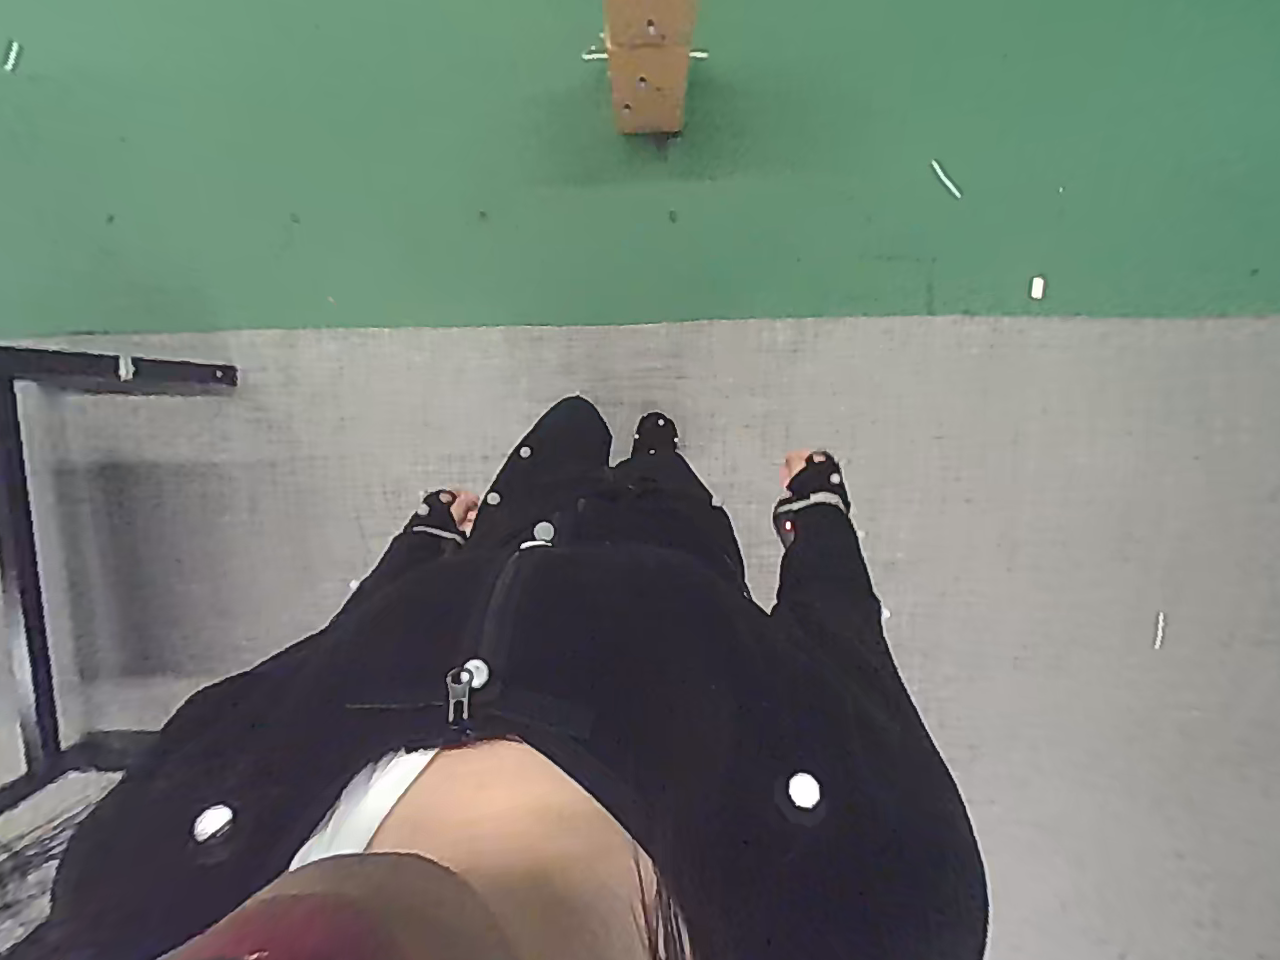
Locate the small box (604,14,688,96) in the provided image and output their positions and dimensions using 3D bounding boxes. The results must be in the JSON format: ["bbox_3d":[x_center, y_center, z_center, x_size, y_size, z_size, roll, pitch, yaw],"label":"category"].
[{"bbox_3d":[0.009,-0.935,1.114,0.168,0.176,0.179,-1,97,0],"label":"small box"}]

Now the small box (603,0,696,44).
[{"bbox_3d":[0.017,-0.919,0.949,0.168,0.176,0.179,0,97,0],"label":"small box"}]
